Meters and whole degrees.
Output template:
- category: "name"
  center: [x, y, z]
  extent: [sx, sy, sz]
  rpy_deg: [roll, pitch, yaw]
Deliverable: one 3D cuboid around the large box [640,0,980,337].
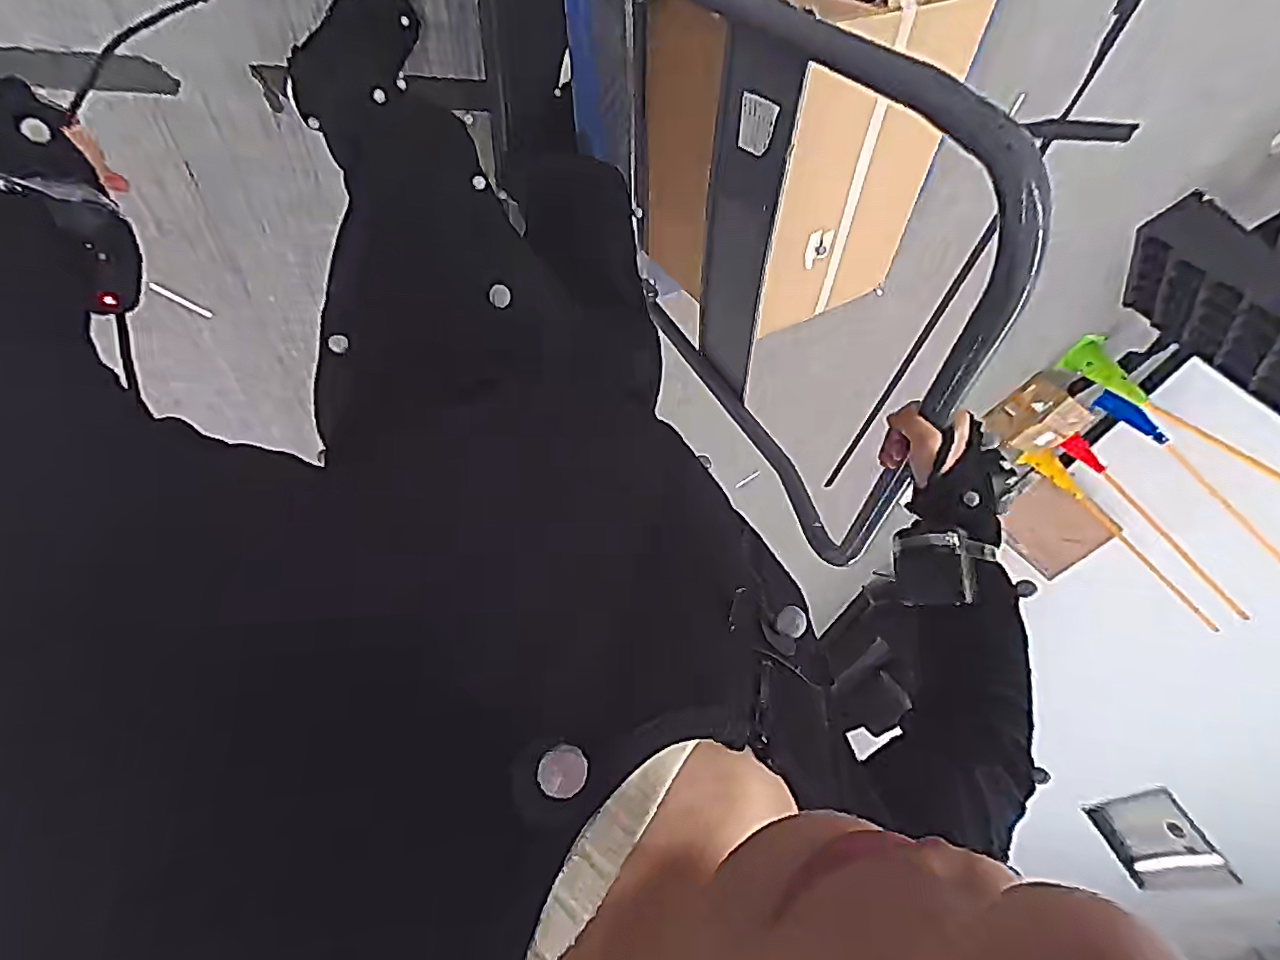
- category: "large box"
  center: [0.206, -0.511, 0.832]
  extent: [0.320, 0.320, 0.408]
  rpy_deg: [-25, 148, -17]
